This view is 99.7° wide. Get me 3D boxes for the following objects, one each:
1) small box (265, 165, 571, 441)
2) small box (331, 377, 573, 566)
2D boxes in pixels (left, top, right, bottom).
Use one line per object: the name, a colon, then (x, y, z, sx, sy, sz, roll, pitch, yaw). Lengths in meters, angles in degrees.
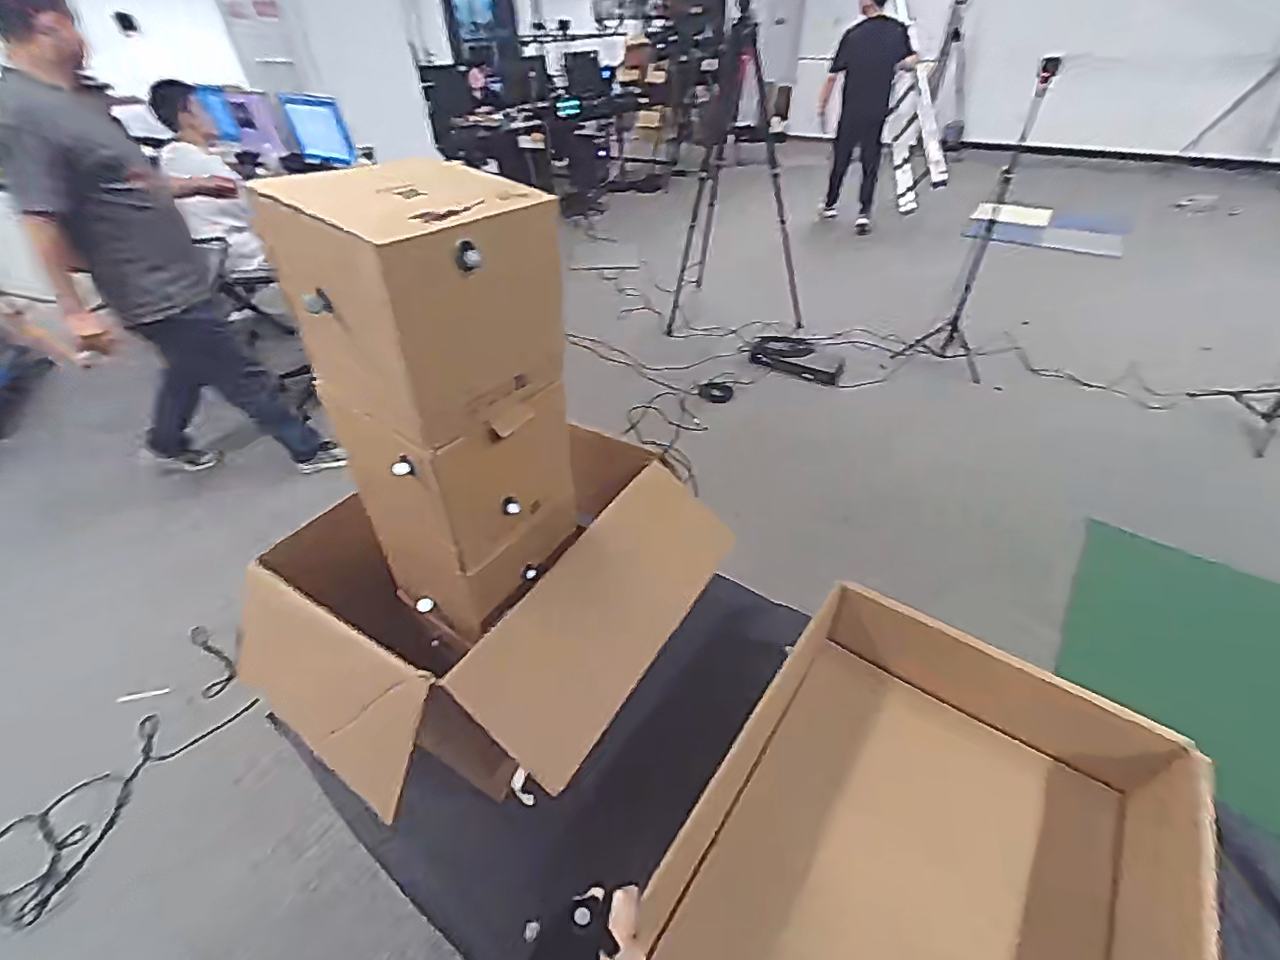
small box: (-0.179, -0.161, 0.481, 0.179, 0.176, 0.168, 29, 48, 25)
small box: (-0.190, -0.038, 0.589, 0.179, 0.176, 0.168, 28, 47, 23)
